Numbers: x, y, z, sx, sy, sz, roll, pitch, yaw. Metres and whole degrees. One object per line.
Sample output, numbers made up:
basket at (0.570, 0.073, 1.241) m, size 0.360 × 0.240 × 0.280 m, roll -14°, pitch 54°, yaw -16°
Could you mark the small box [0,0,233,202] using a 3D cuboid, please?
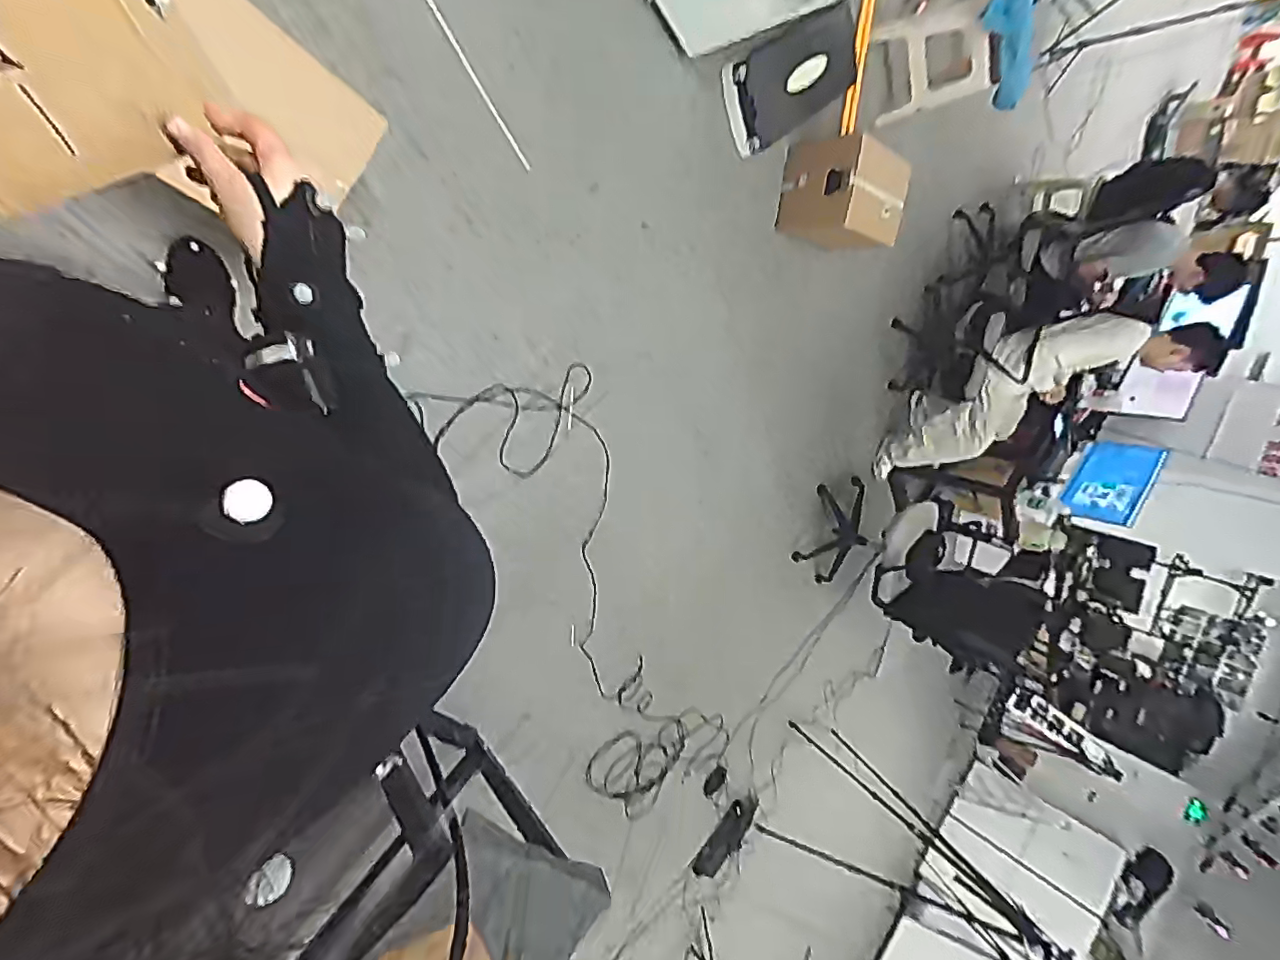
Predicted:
small box at (-0.431, -0.333, 0.379) m, size 0.168 × 0.176 × 0.179 m, roll -25°, pitch 139°, yaw -8°
